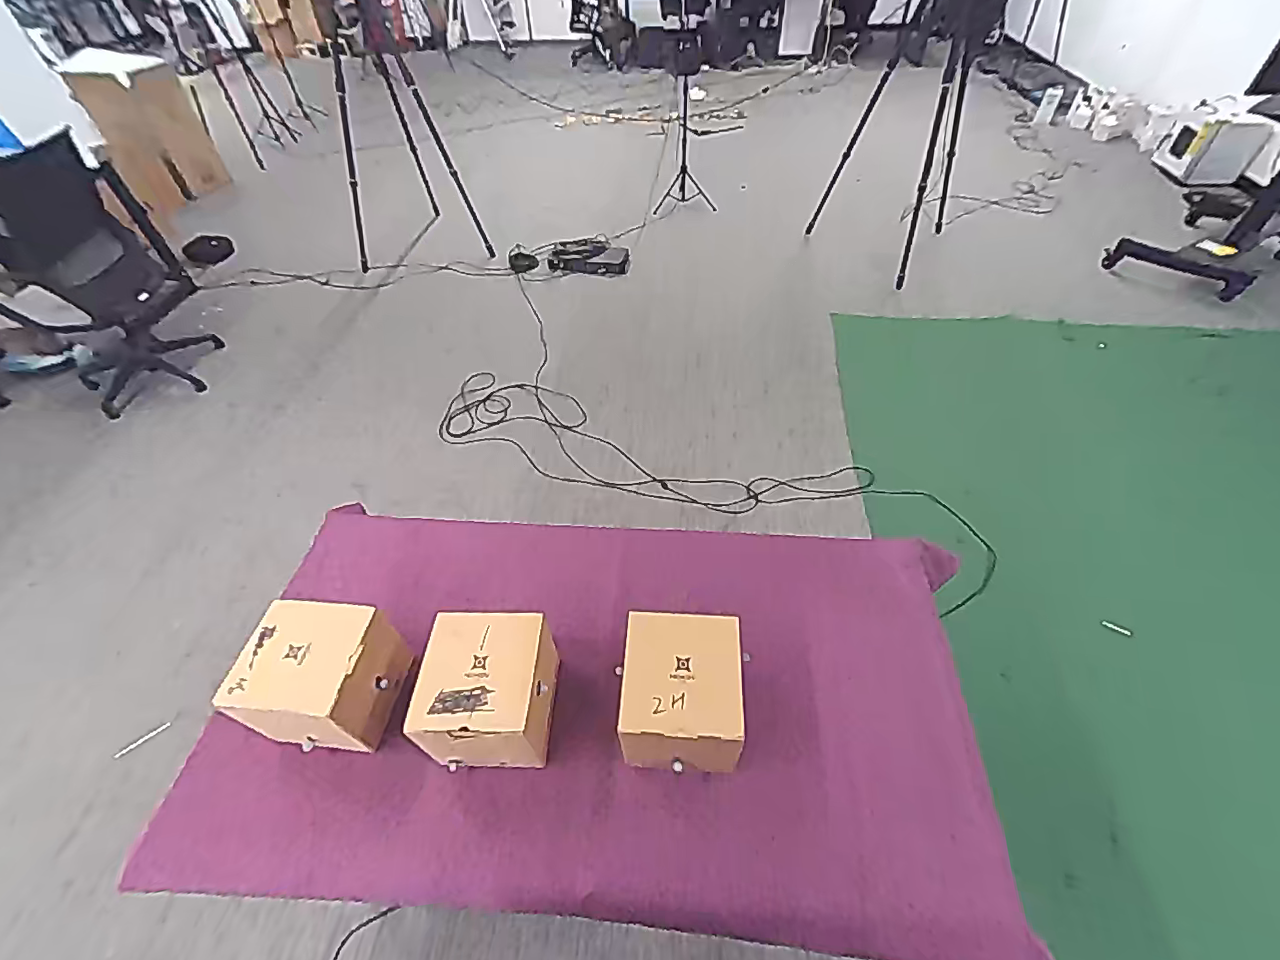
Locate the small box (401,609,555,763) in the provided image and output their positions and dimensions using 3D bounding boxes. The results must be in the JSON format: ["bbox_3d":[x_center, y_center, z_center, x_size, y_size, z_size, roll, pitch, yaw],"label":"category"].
[{"bbox_3d":[-0.228,0.314,0.818,0.168,0.176,0.179,0,48,2],"label":"small box"}]

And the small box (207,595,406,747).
[{"bbox_3d":[-0.494,0.300,0.839,0.179,0.176,0.168,5,49,4],"label":"small box"}]

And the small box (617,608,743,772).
[{"bbox_3d":[0.060,0.314,0.809,0.168,0.176,0.179,2,49,5],"label":"small box"}]
